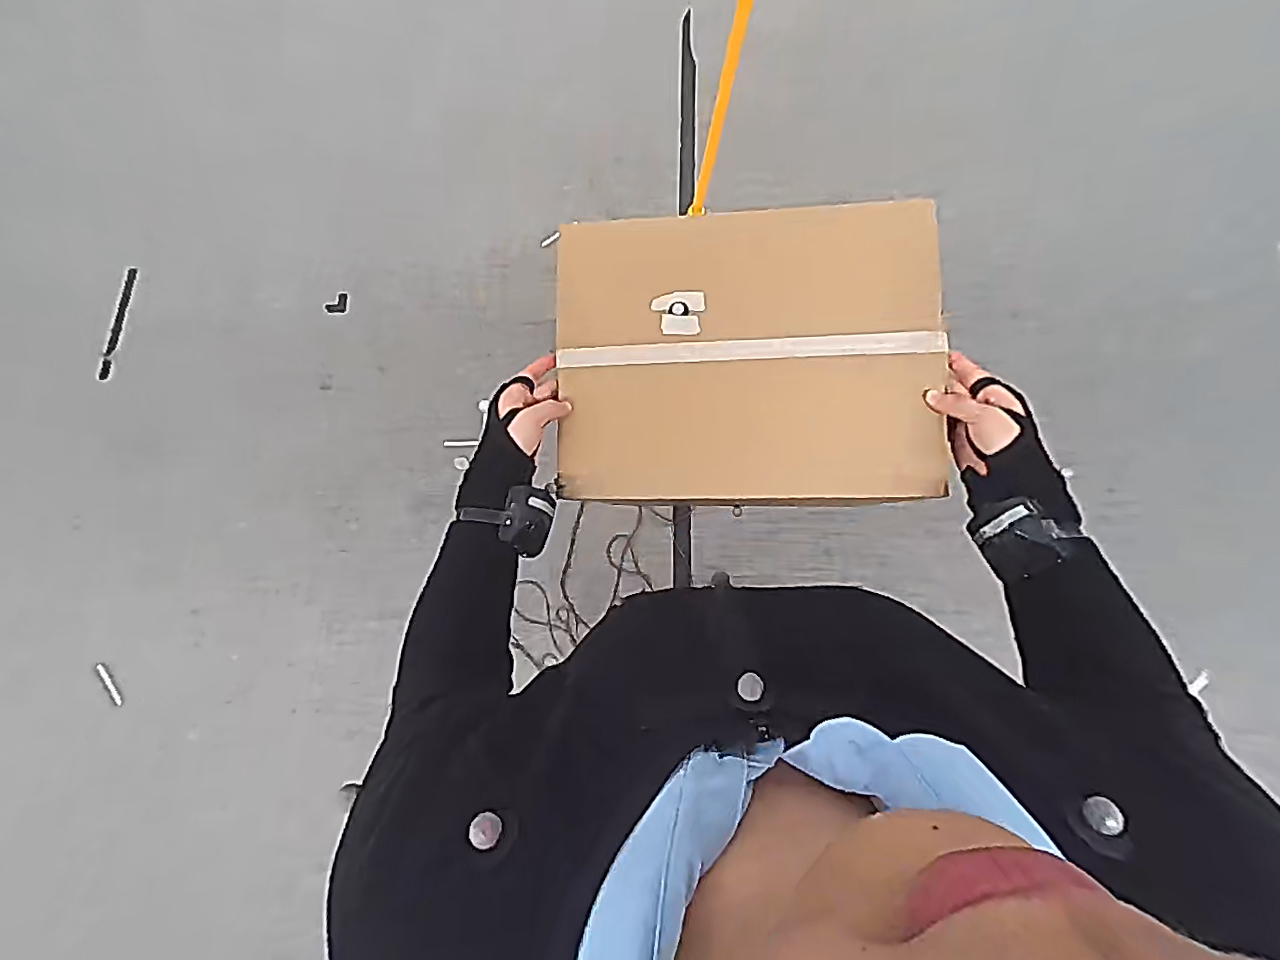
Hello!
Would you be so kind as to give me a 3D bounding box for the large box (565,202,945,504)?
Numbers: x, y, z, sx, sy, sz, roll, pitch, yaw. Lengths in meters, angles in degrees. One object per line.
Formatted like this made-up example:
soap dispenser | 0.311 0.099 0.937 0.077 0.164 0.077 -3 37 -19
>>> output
large box | 0.134 -0.128 0.737 0.408 0.320 0.320 -1 84 8
